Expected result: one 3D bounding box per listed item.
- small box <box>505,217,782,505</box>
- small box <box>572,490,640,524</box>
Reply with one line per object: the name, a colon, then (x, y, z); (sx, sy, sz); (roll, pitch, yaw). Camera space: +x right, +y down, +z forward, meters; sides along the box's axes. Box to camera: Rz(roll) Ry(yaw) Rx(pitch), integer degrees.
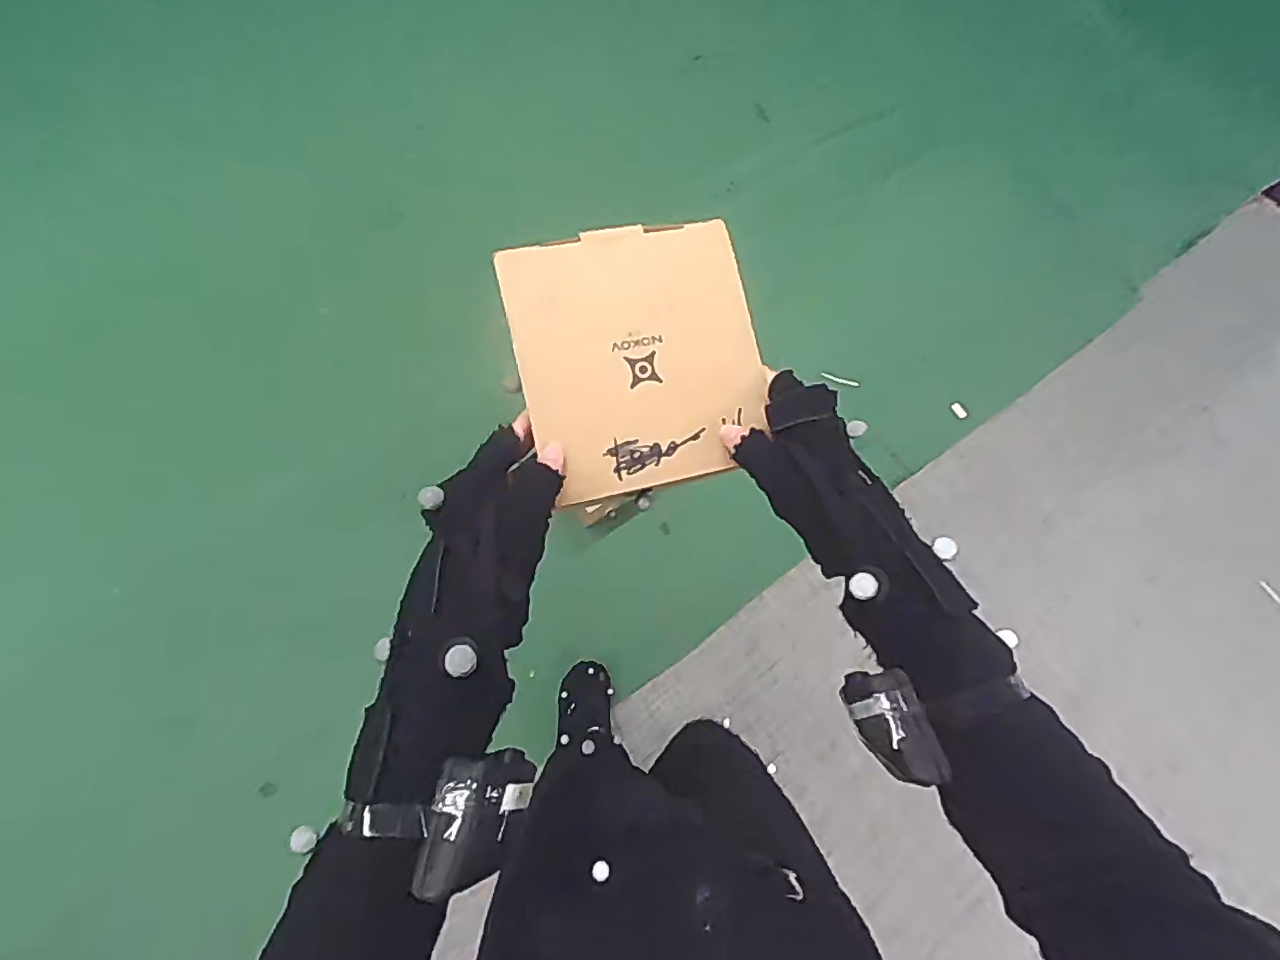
small box: (-0.009, -0.082, 0.447); (0.168, 0.176, 0.179); (-13, 88, -10)
small box: (-0.104, -0.019, 1.283); (0.168, 0.176, 0.179); (-31, 79, -14)
